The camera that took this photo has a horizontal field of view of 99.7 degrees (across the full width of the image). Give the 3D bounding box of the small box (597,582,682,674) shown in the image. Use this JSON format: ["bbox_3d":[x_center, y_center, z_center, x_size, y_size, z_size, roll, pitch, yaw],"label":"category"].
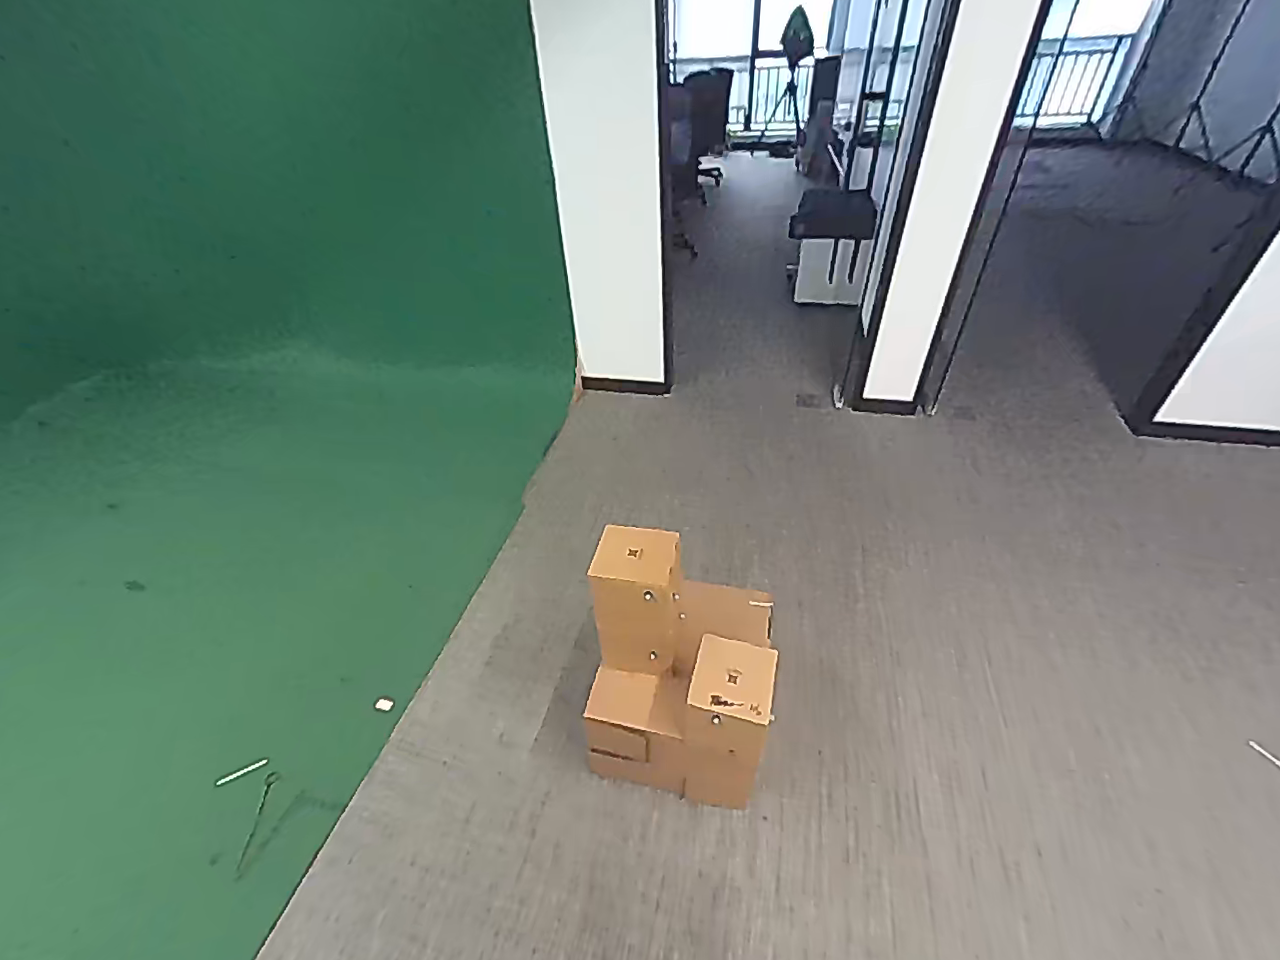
[{"bbox_3d":[0.006,0.356,1.334,0.179,0.176,0.168,5,38,11],"label":"small box"}]

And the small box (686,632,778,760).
[{"bbox_3d":[0.198,0.469,1.176,0.168,0.176,0.179,10,40,15],"label":"small box"}]

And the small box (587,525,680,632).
[{"bbox_3d":[-0.008,0.225,1.237,0.179,0.176,0.168,6,39,11],"label":"small box"}]
